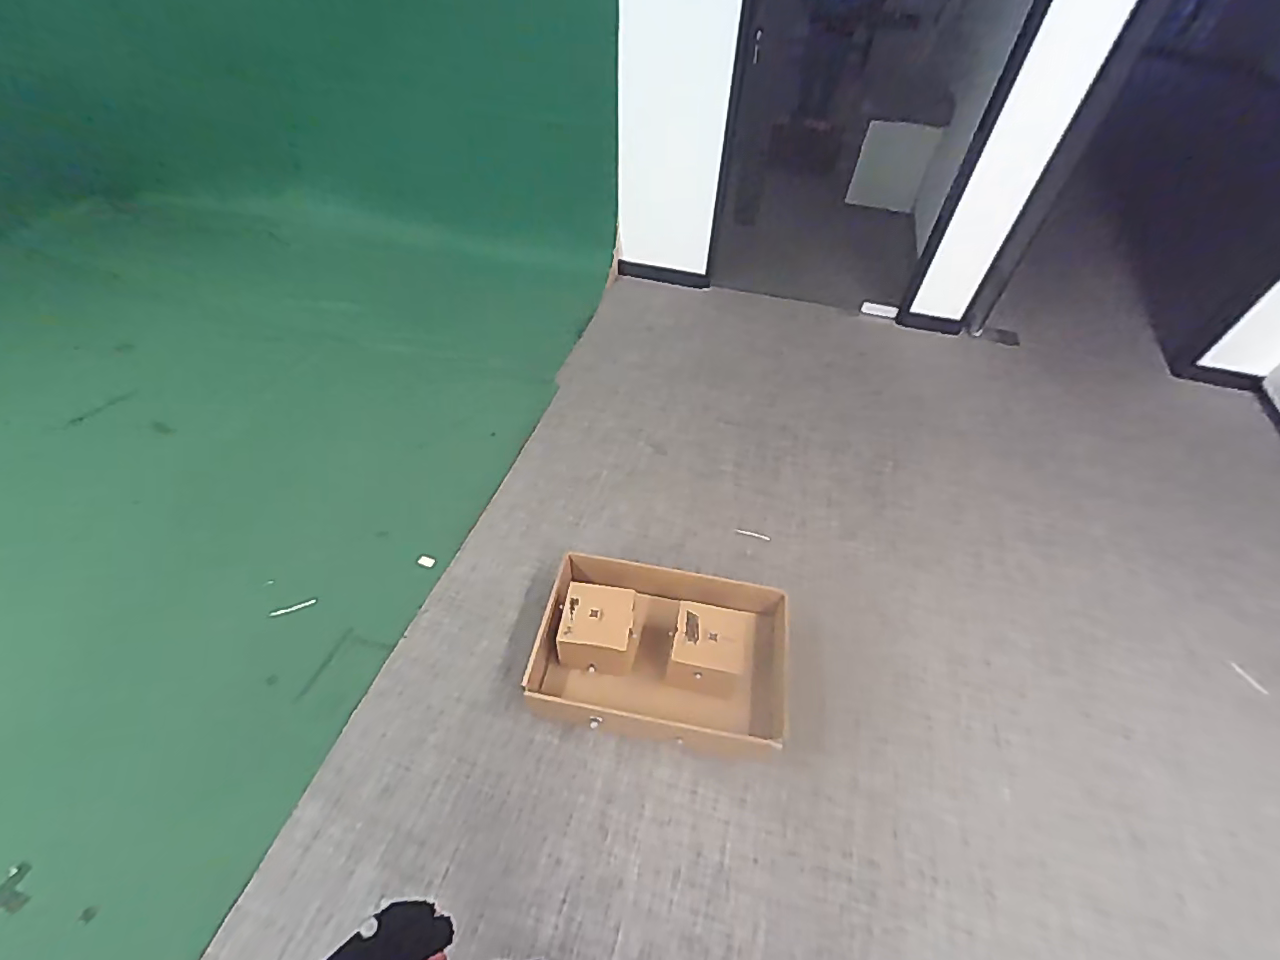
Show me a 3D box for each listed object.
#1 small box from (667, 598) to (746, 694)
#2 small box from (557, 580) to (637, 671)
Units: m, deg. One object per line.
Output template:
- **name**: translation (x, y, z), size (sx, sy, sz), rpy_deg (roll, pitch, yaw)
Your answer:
- **small box**: translation (0.167, 0.429, 1.387), size (0.179, 0.176, 0.168), rpy_deg (10, 50, 6)
- **small box**: translation (-0.110, 0.384, 1.412), size (0.179, 0.176, 0.168), rpy_deg (8, 49, 2)
